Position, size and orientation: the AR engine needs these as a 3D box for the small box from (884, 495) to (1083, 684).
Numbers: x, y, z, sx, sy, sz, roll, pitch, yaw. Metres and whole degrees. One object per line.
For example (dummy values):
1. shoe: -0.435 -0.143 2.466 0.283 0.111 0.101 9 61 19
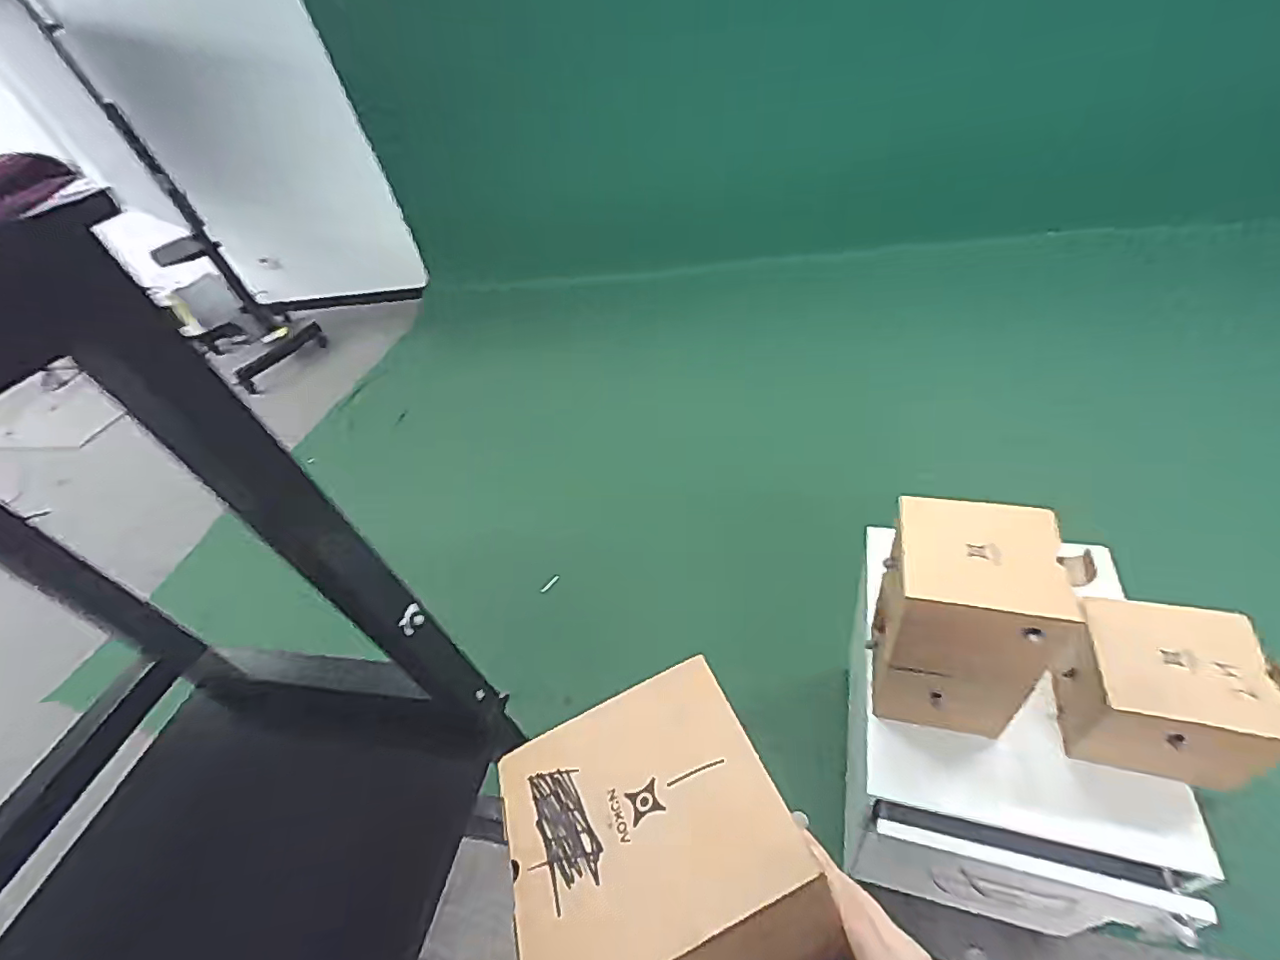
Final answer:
1. small box: 0.418 0.141 0.697 0.179 0.176 0.168 5 46 18

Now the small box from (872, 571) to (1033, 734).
1. small box: 0.447 0.257 0.808 0.179 0.176 0.168 3 46 18

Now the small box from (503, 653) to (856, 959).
1. small box: 0.025 0.266 0.379 0.179 0.176 0.168 -25 31 -6

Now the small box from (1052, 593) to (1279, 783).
1. small box: 0.680 0.276 0.719 0.179 0.176 0.168 5 47 21
